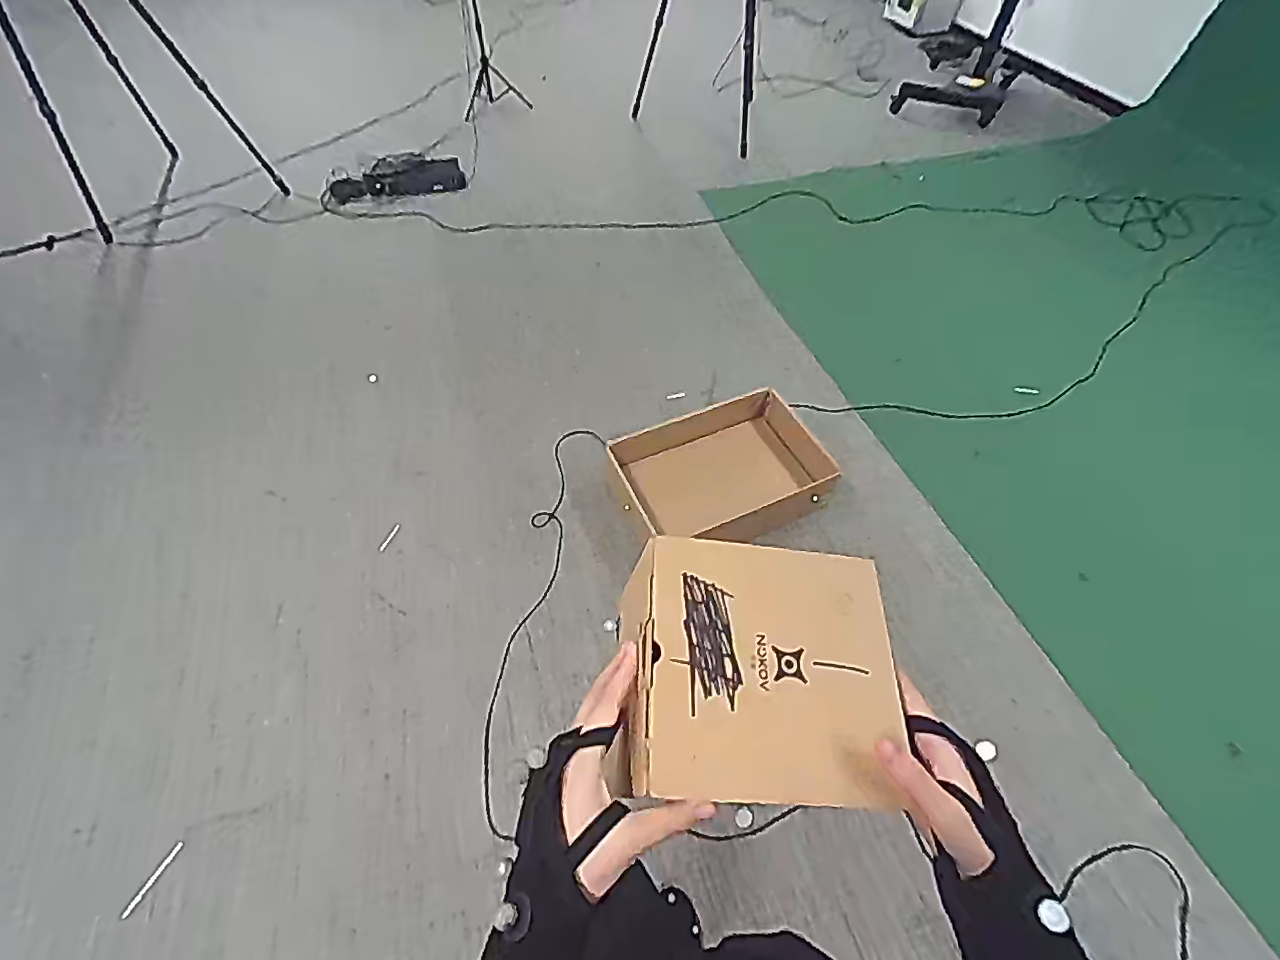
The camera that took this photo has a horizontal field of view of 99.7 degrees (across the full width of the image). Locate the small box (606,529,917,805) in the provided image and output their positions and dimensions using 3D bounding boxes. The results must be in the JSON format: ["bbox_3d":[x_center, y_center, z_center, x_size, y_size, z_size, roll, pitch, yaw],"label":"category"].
[{"bbox_3d":[0.072,0.155,0.424,0.179,0.176,0.168,8,59,-10],"label":"small box"}]
